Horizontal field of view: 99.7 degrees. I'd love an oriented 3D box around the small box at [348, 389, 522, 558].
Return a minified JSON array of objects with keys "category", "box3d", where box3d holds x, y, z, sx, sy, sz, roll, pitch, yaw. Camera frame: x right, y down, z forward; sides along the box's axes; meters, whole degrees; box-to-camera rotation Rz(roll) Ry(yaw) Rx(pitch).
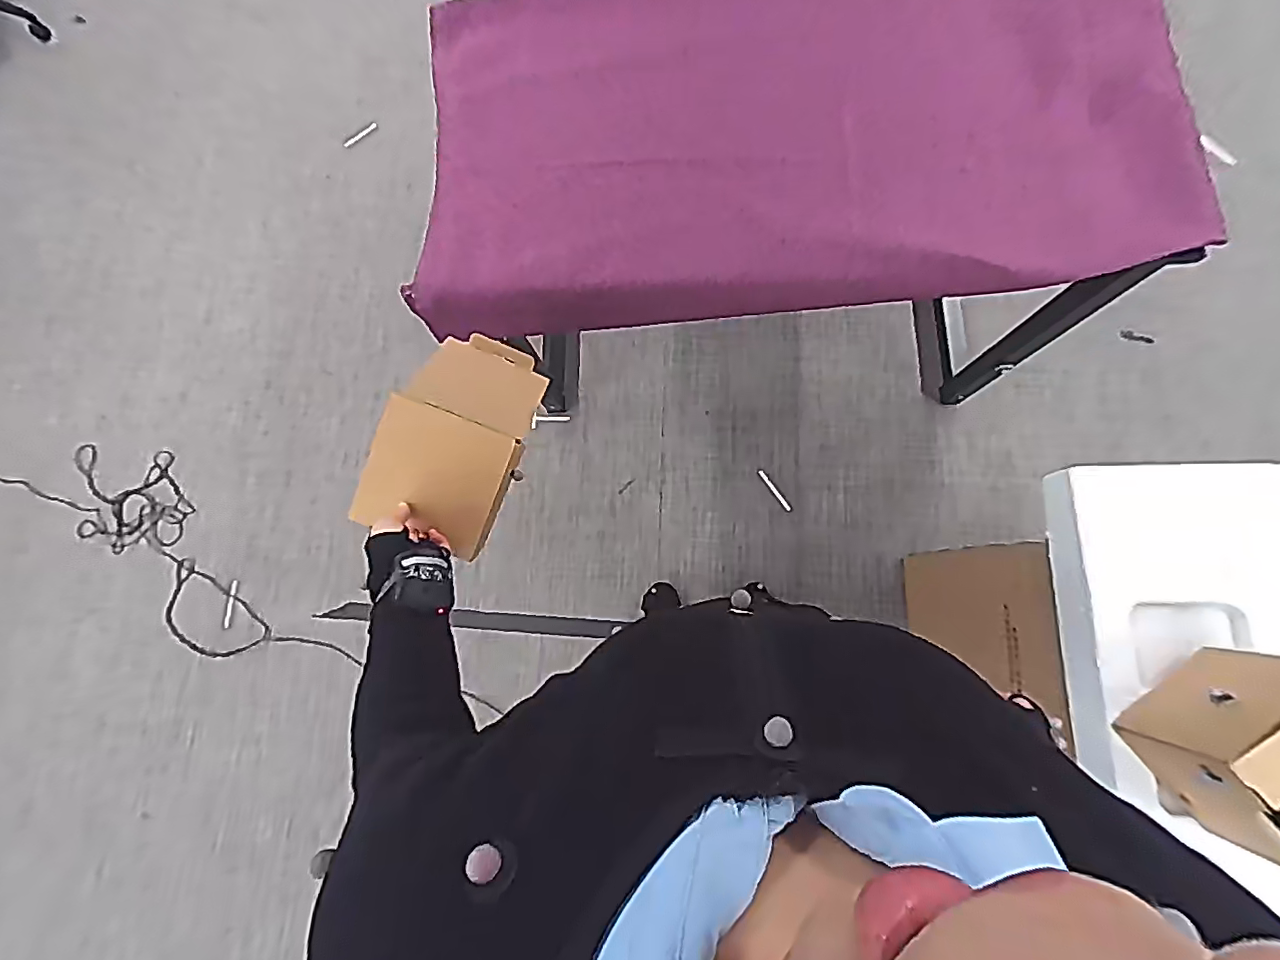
[{"category":"small box","box3d":[-0.277,-0.010,0.774,0.168,0.176,0.179,22,88,-10]}]
